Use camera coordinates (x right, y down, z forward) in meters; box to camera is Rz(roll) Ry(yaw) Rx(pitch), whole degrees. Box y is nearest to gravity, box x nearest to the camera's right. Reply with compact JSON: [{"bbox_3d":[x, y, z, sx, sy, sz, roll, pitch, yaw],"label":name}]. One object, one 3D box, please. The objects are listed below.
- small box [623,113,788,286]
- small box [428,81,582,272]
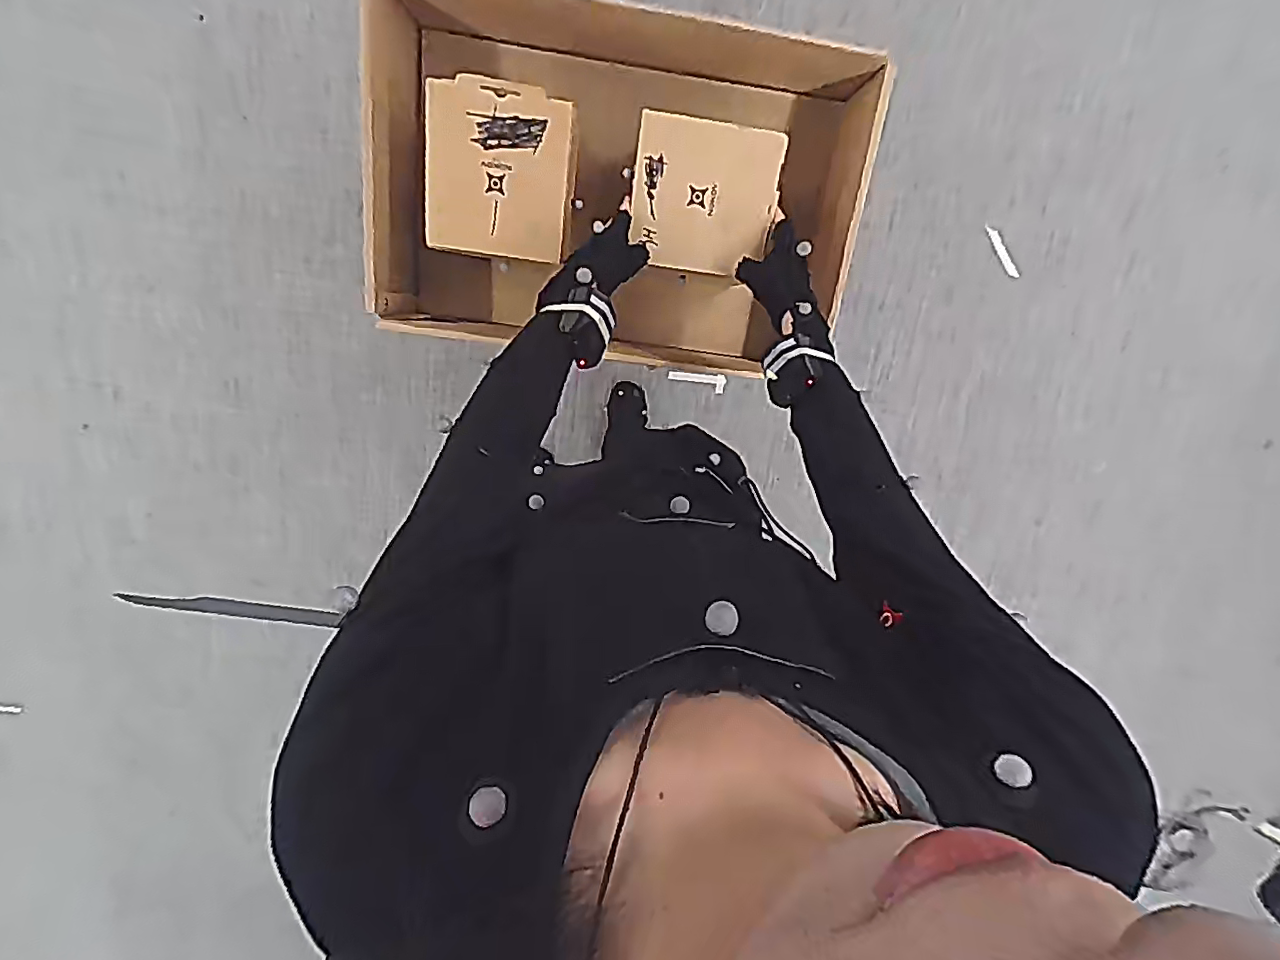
[{"bbox_3d":[0.074,-0.359,0.726,0.179,0.176,0.168,7,107,-4],"label":"small box"},{"bbox_3d":[-0.168,-0.379,0.709,0.168,0.176,0.179,6,109,-4],"label":"small box"}]
